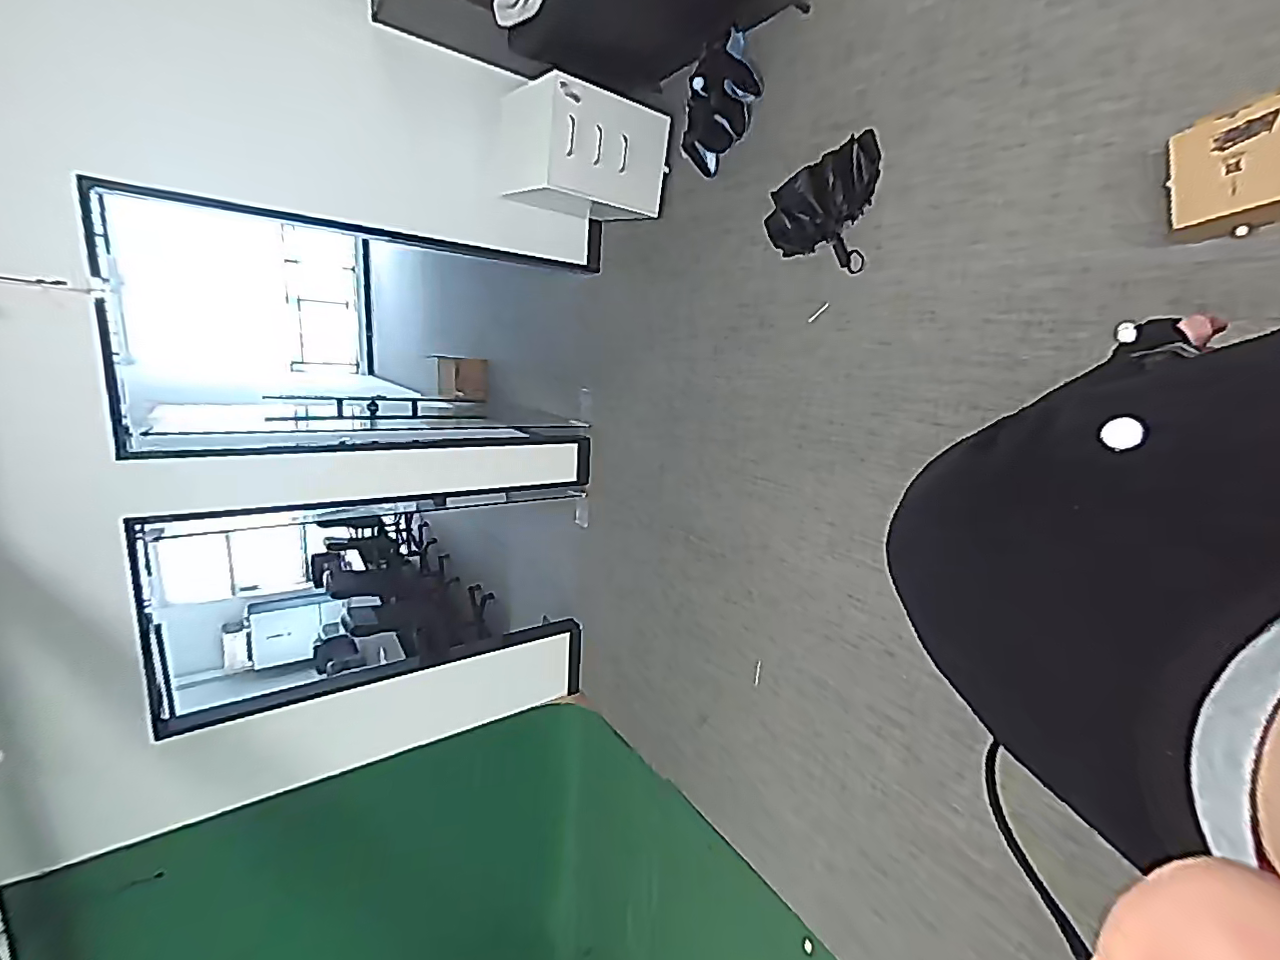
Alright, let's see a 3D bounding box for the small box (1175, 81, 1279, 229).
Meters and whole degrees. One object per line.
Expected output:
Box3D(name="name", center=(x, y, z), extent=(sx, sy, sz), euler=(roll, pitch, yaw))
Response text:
Box3D(name="small box", center=(1.112, -0.588, 0.989), extent=(0.168, 0.176, 0.179), euler=(0, 96, 56))
